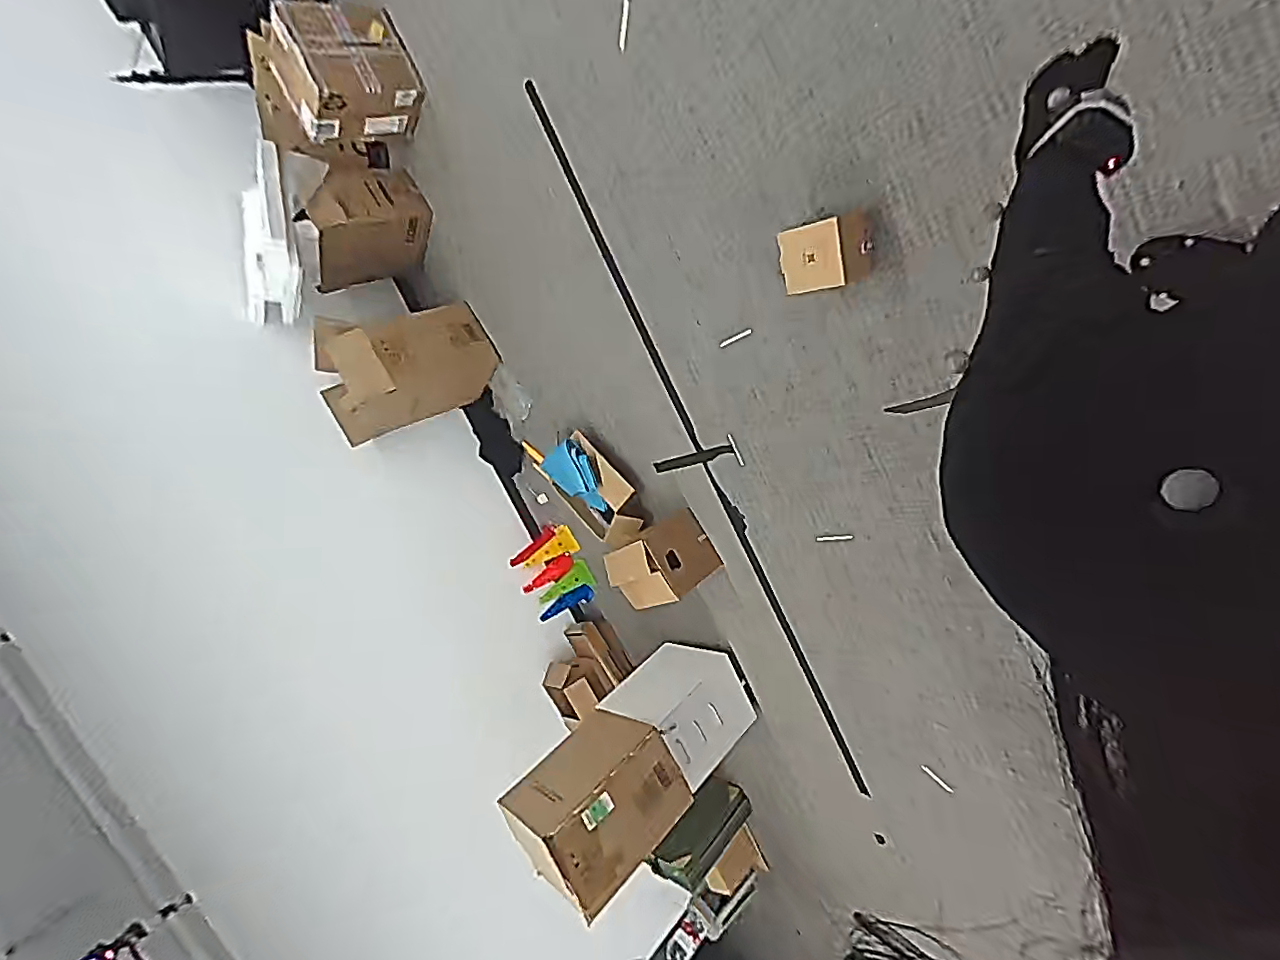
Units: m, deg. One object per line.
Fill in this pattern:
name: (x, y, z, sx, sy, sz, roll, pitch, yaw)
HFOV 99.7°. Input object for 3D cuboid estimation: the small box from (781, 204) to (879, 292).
small box: (0.506, -0.614, 1.437, 0.179, 0.176, 0.168, 7, 122, 48)
